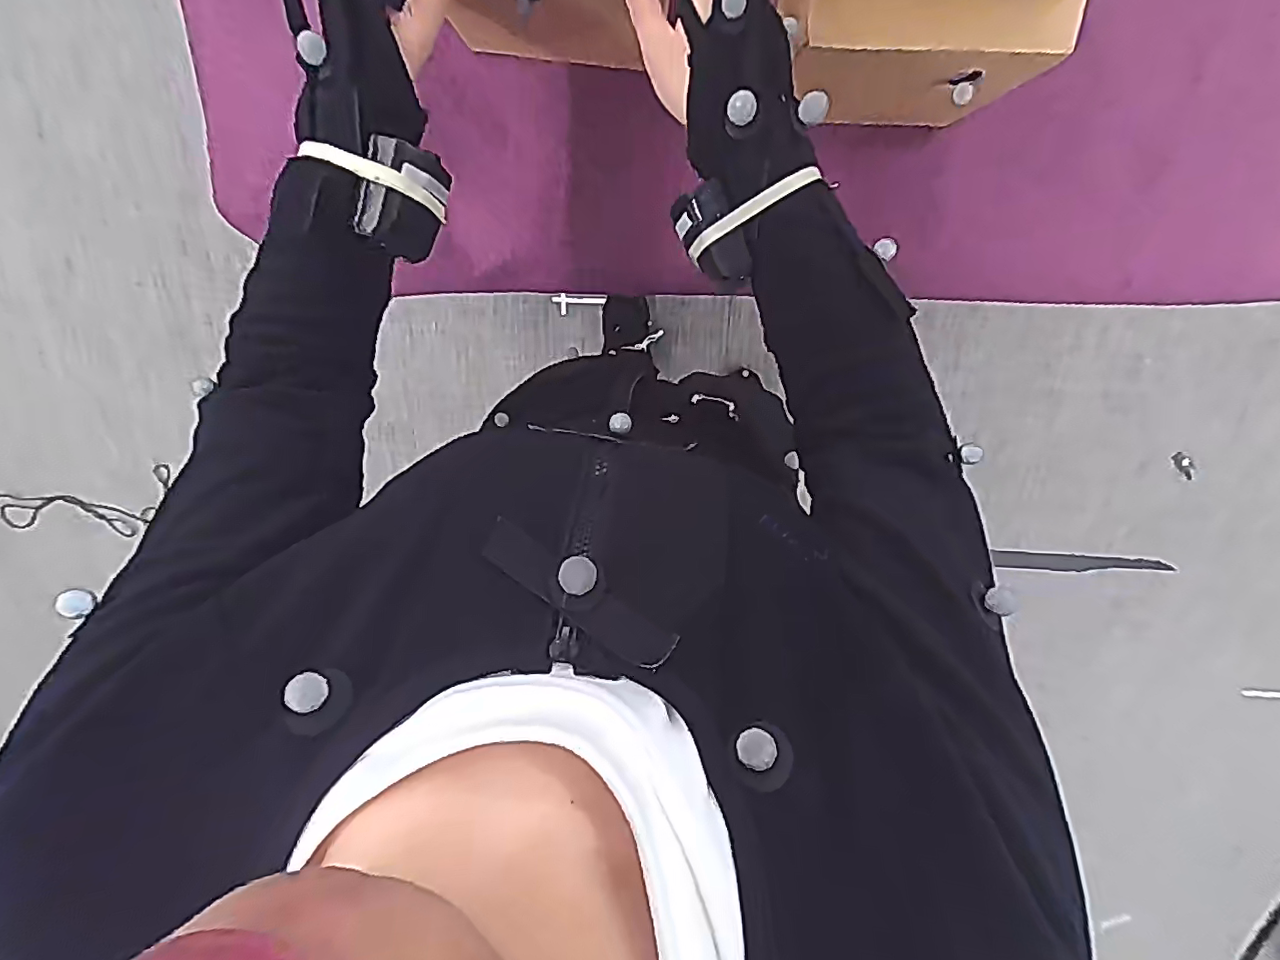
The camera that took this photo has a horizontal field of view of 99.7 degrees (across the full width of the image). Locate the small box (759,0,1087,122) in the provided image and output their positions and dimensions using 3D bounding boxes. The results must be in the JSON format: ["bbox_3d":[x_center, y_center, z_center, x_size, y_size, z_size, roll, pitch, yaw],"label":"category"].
[{"bbox_3d":[0.197,-0.381,0.394,0.179,0.176,0.168,3,109,1],"label":"small box"}]
